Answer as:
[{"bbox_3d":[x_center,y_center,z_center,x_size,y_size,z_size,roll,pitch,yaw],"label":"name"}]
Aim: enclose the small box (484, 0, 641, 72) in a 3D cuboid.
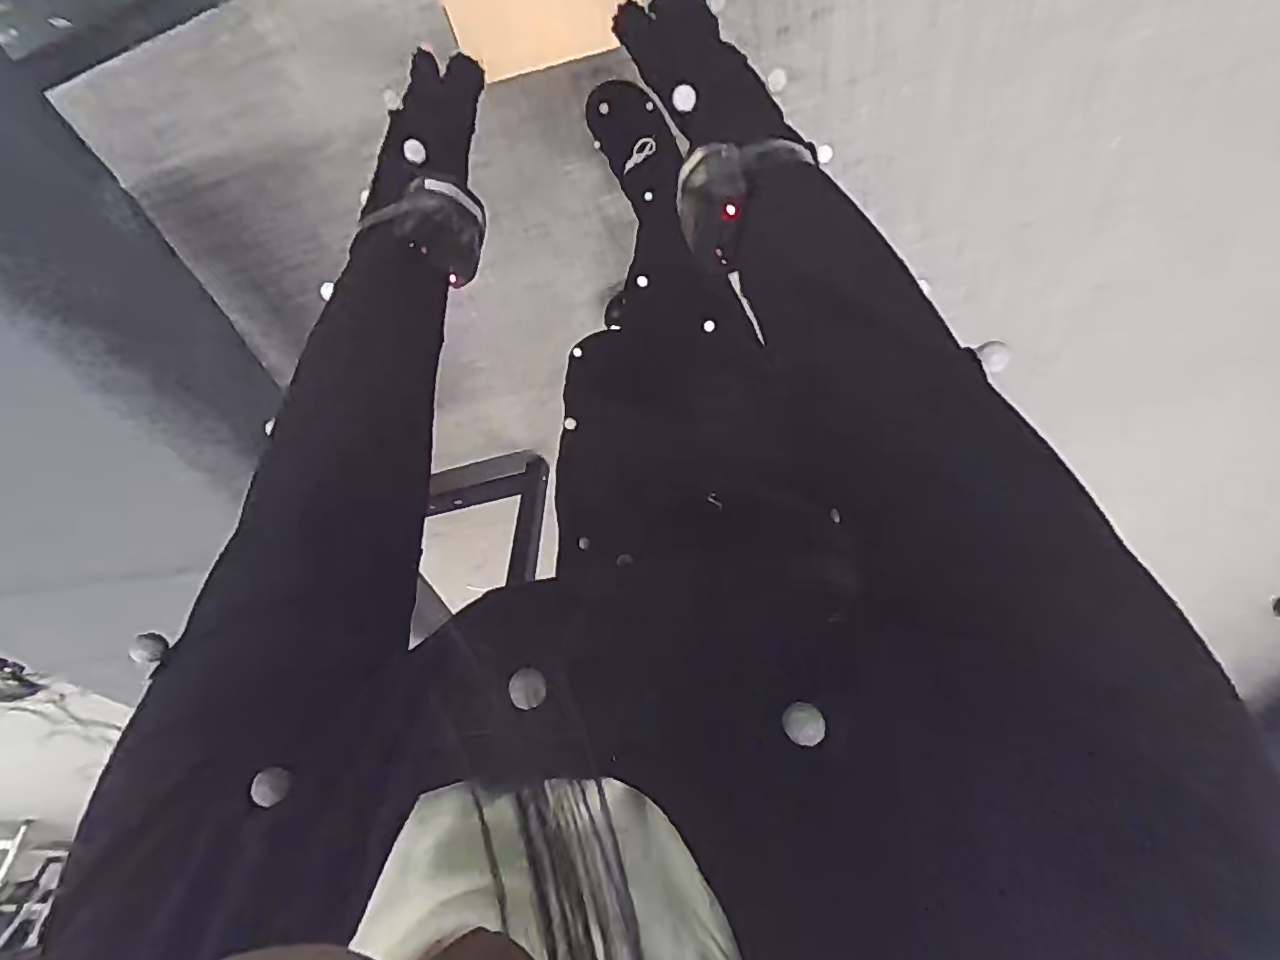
[{"bbox_3d":[-0.096,-0.610,0.626,0.168,0.176,0.179,-8,136,9],"label":"small box"}]
